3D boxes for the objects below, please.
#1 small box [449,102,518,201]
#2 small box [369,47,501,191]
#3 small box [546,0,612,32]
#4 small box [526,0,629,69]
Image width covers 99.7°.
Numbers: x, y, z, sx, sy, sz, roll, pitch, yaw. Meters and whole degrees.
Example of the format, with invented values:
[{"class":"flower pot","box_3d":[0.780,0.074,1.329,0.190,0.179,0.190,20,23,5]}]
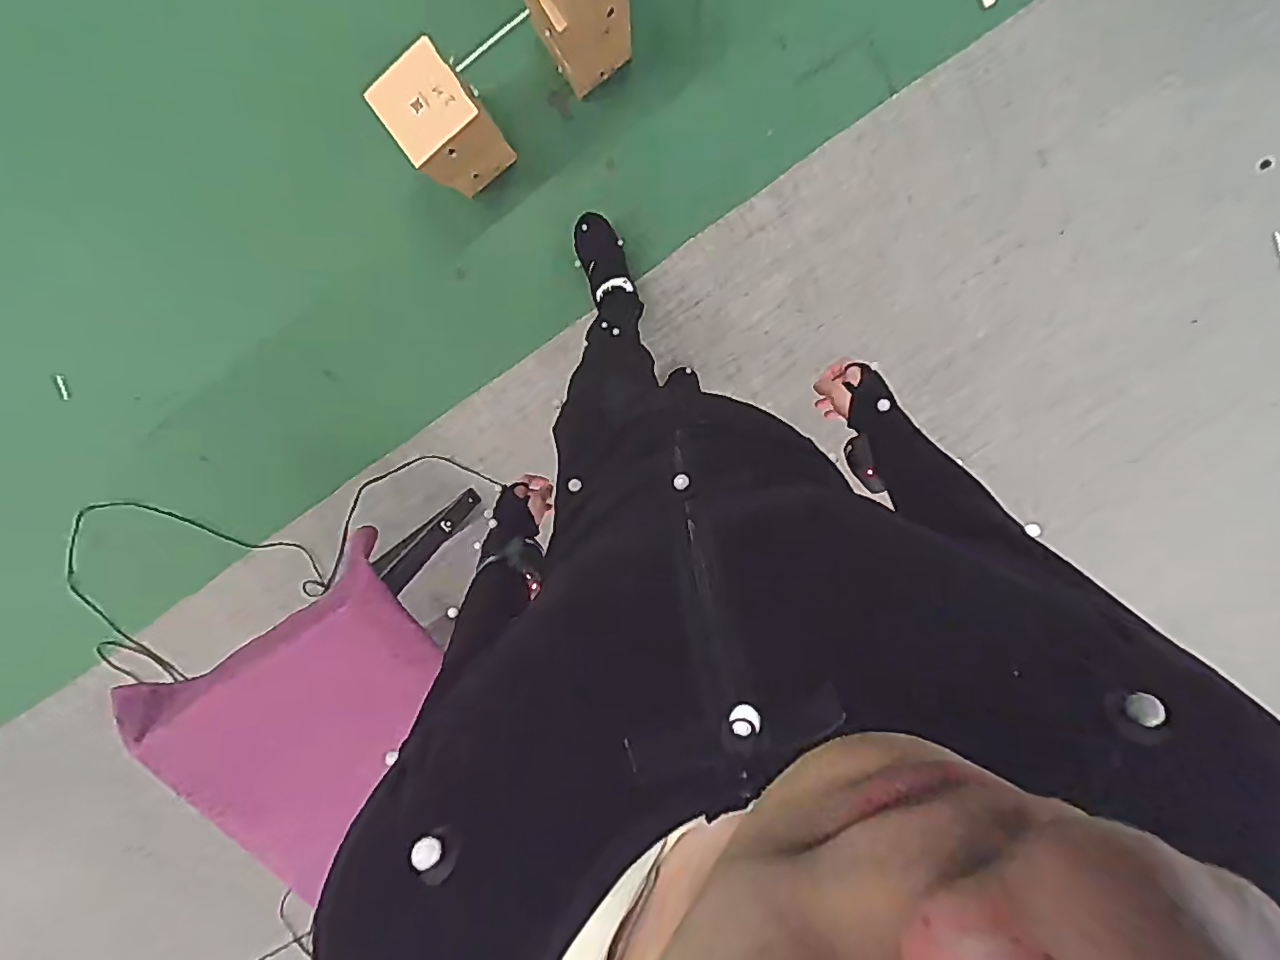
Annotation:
[{"class":"small box","box_3d":[-0.426,-0.812,1.322,0.168,0.176,0.179,-33,102,11]},{"class":"small box","box_3d":[-0.431,-0.761,1.166,0.179,0.176,0.168,-34,102,10]},{"class":"small box","box_3d":[-0.121,-0.943,0.934,0.168,0.176,0.179,-39,104,11]},{"class":"small box","box_3d":[-0.133,-0.982,1.093,0.168,0.176,0.179,-33,103,9]}]
